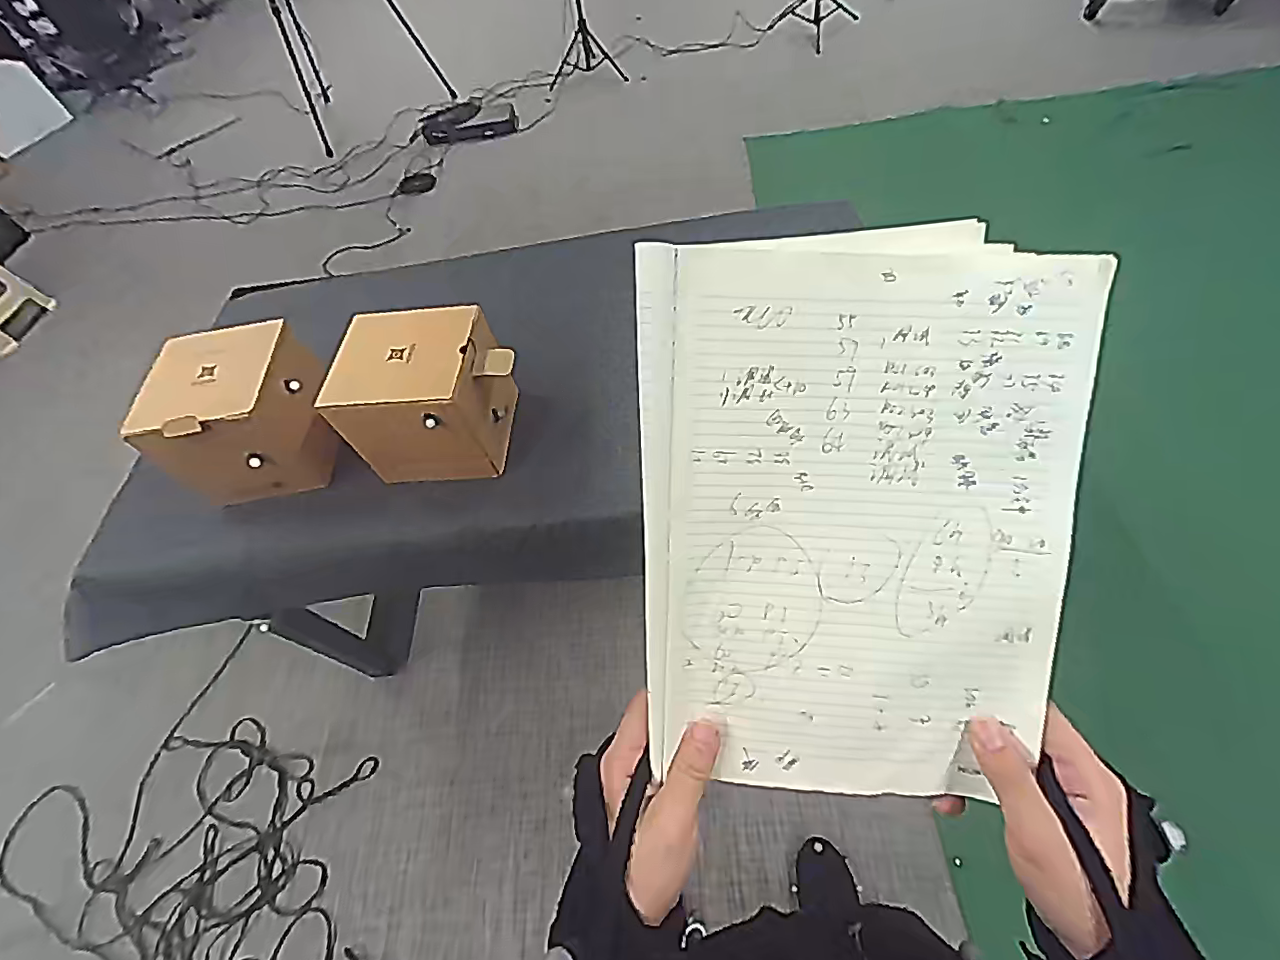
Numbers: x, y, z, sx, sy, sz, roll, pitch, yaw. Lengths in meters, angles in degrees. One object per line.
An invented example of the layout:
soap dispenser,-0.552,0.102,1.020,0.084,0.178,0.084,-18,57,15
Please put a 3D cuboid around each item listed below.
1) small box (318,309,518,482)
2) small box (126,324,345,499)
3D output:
small box,-0.286,-0.108,0.740,0.179,0.176,0.168,-3,56,6
small box,-0.543,-0.087,0.763,0.168,0.176,0.179,-9,55,0
